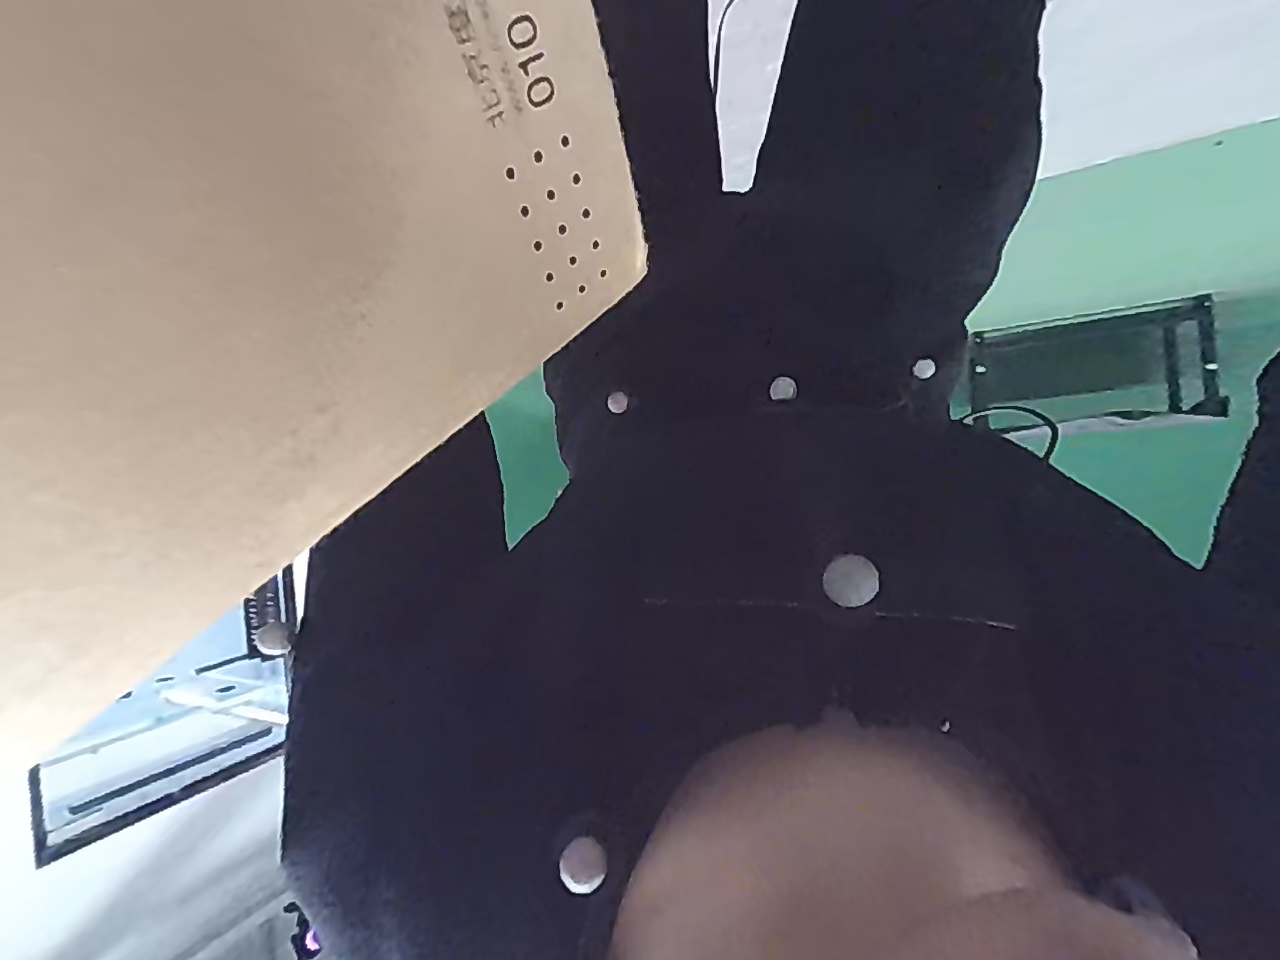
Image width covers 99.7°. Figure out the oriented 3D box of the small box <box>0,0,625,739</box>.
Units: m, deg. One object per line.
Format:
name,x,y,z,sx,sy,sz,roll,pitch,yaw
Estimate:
small box,-0.131,-0.081,0.095,0.179,0.168,0.176,29,-117,35
